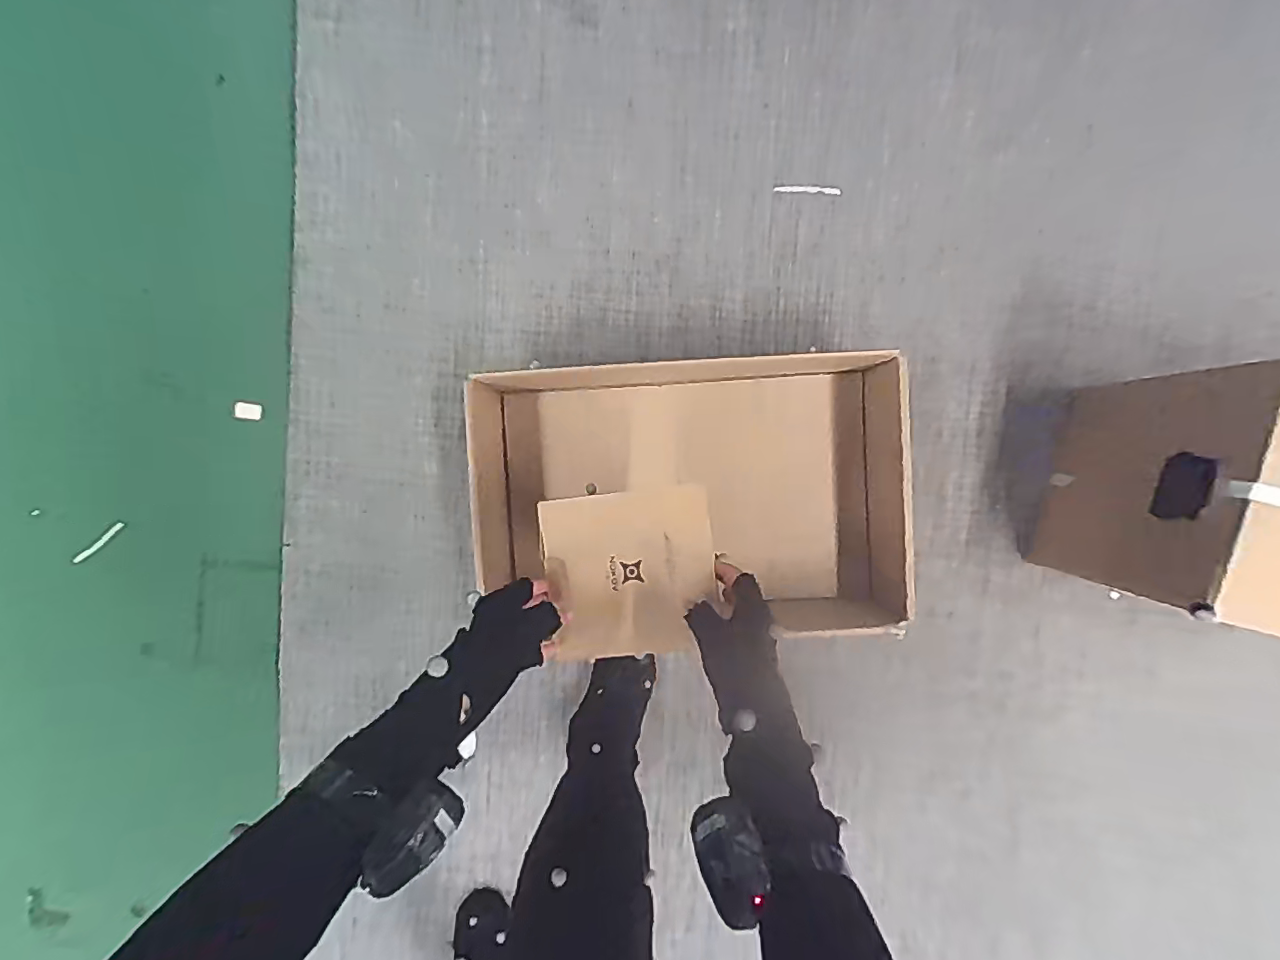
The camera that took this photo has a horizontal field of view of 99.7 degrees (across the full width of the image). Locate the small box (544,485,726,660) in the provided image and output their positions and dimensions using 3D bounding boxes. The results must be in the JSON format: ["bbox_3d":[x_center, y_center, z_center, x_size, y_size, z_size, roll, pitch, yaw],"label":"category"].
[{"bbox_3d":[0.002,0.100,0.633,0.179,0.176,0.168,-8,87,6],"label":"small box"}]
